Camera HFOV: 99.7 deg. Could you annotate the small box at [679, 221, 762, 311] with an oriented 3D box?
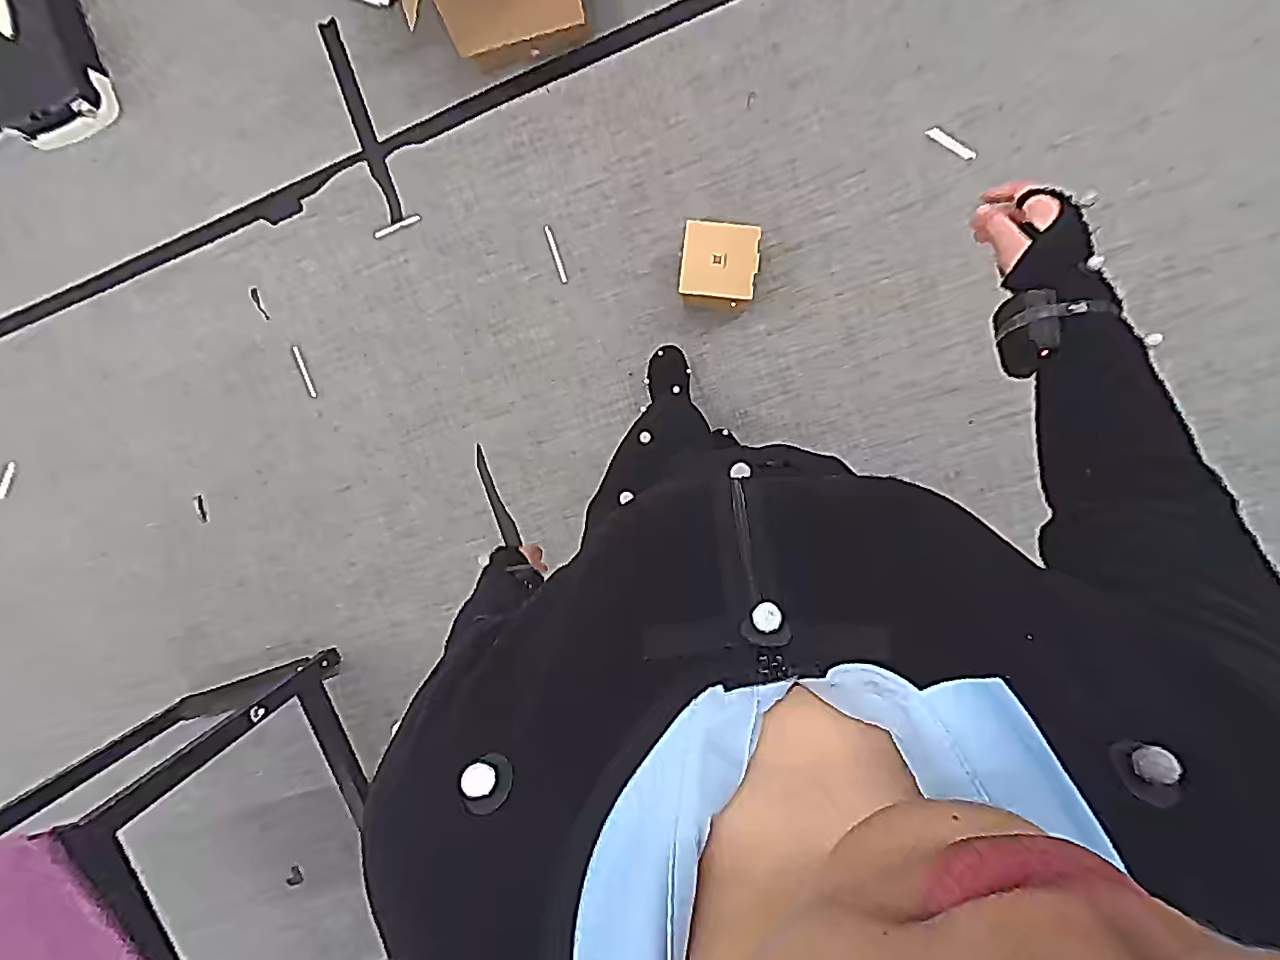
[{"bbox_3d":[0.193,-0.520,1.333,0.179,0.176,0.168,7,99,4],"label":"small box"}]
